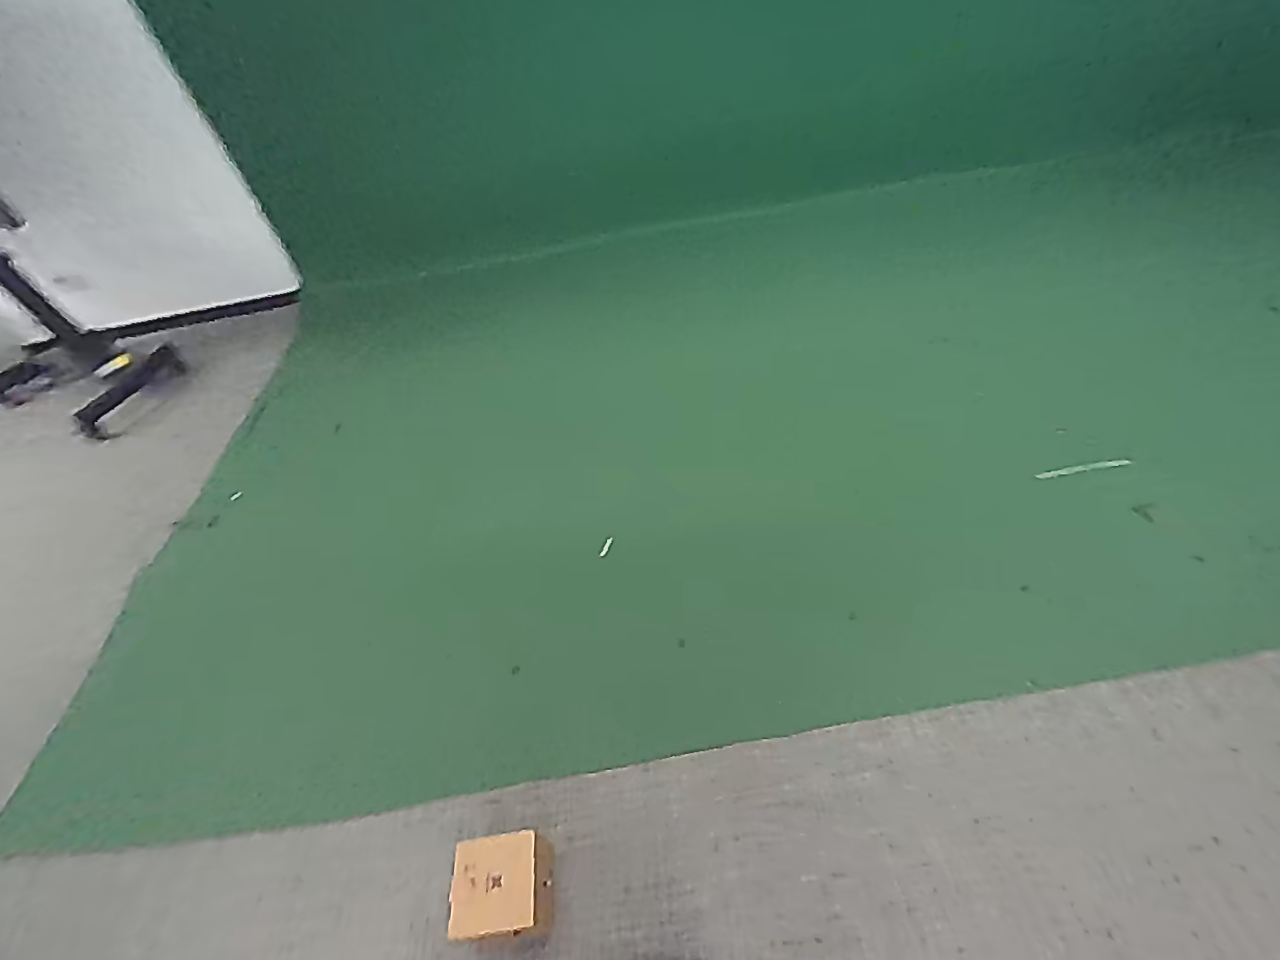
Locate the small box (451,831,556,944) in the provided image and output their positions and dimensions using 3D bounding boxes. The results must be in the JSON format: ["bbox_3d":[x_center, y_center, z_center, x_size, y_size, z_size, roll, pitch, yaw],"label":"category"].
[{"bbox_3d":[-0.281,0.875,1.159,0.179,0.176,0.168,-10,46,0],"label":"small box"}]
